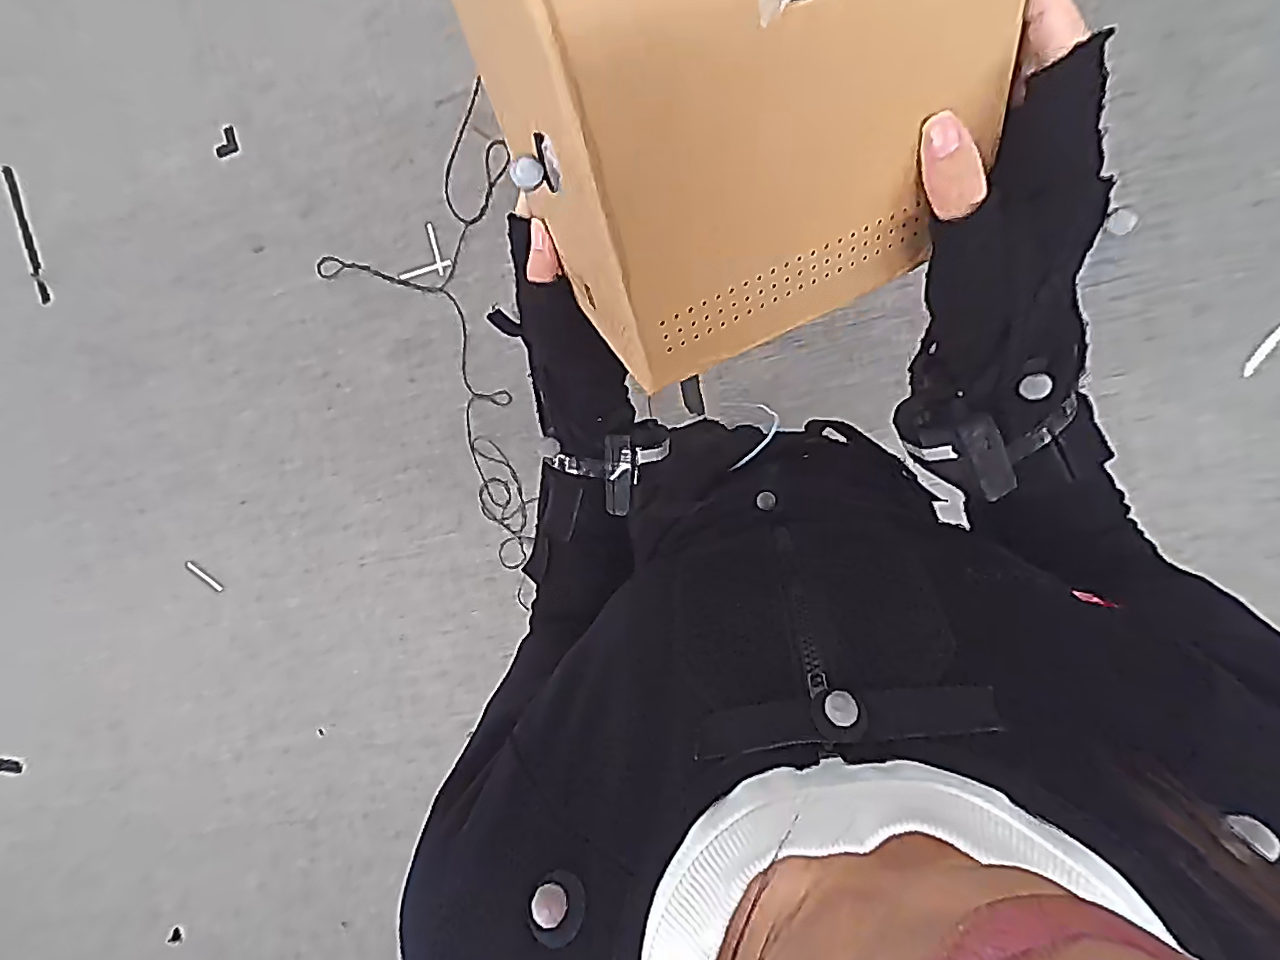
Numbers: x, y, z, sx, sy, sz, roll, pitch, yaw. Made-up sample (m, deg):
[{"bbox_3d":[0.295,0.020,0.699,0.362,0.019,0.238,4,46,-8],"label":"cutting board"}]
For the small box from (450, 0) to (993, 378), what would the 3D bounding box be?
[{"bbox_3d":[0.033,-0.176,0.249,0.179,0.168,0.176,-27,135,-5],"label":"small box"}]
